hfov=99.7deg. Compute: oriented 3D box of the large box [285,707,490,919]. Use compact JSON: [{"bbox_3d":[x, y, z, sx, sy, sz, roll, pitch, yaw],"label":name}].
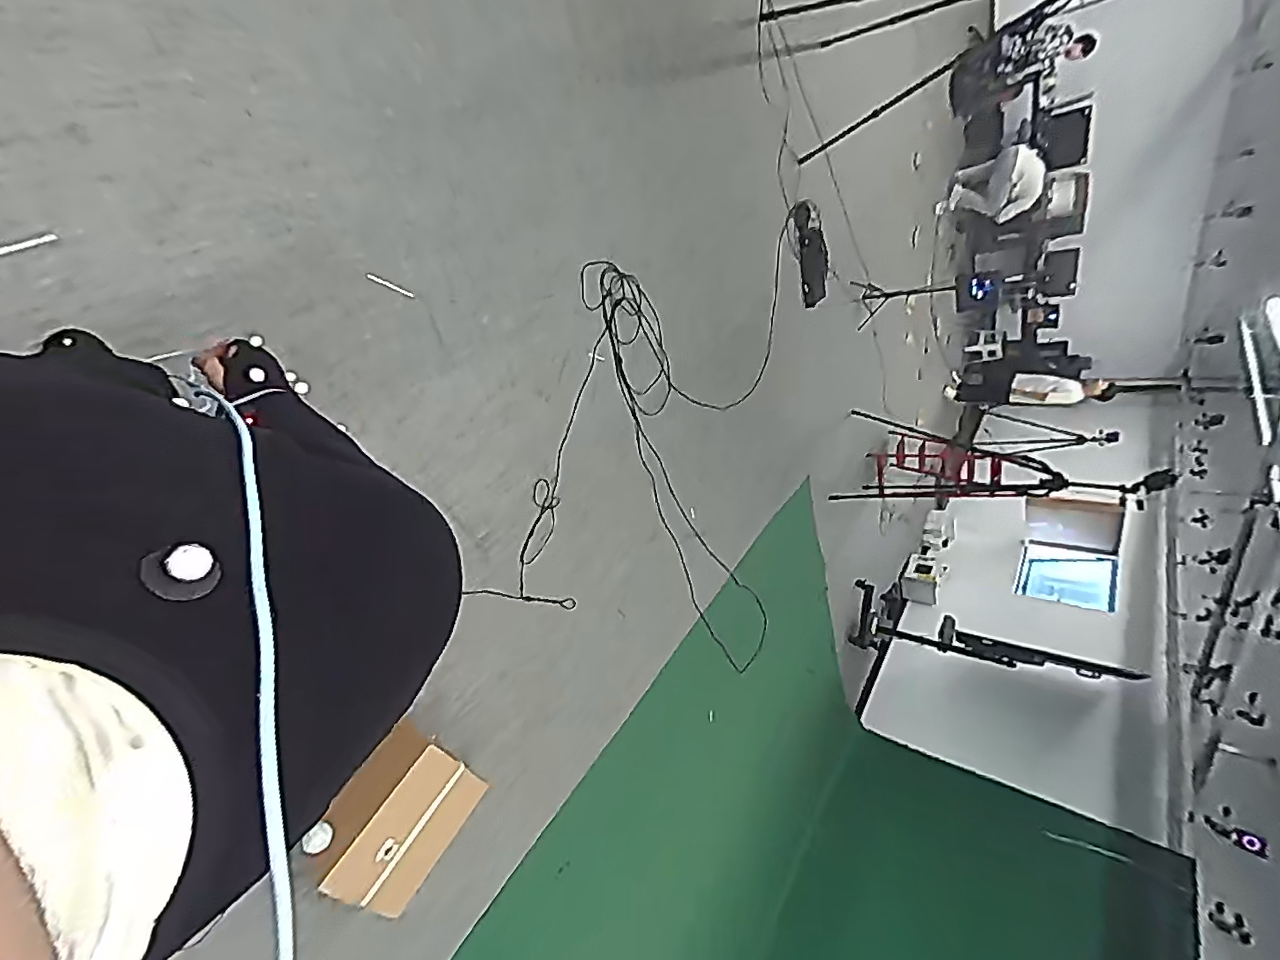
[{"bbox_3d":[-0.749,0.984,1.636,0.408,0.320,0.320,-52,130,-30],"label":"large box"}]
